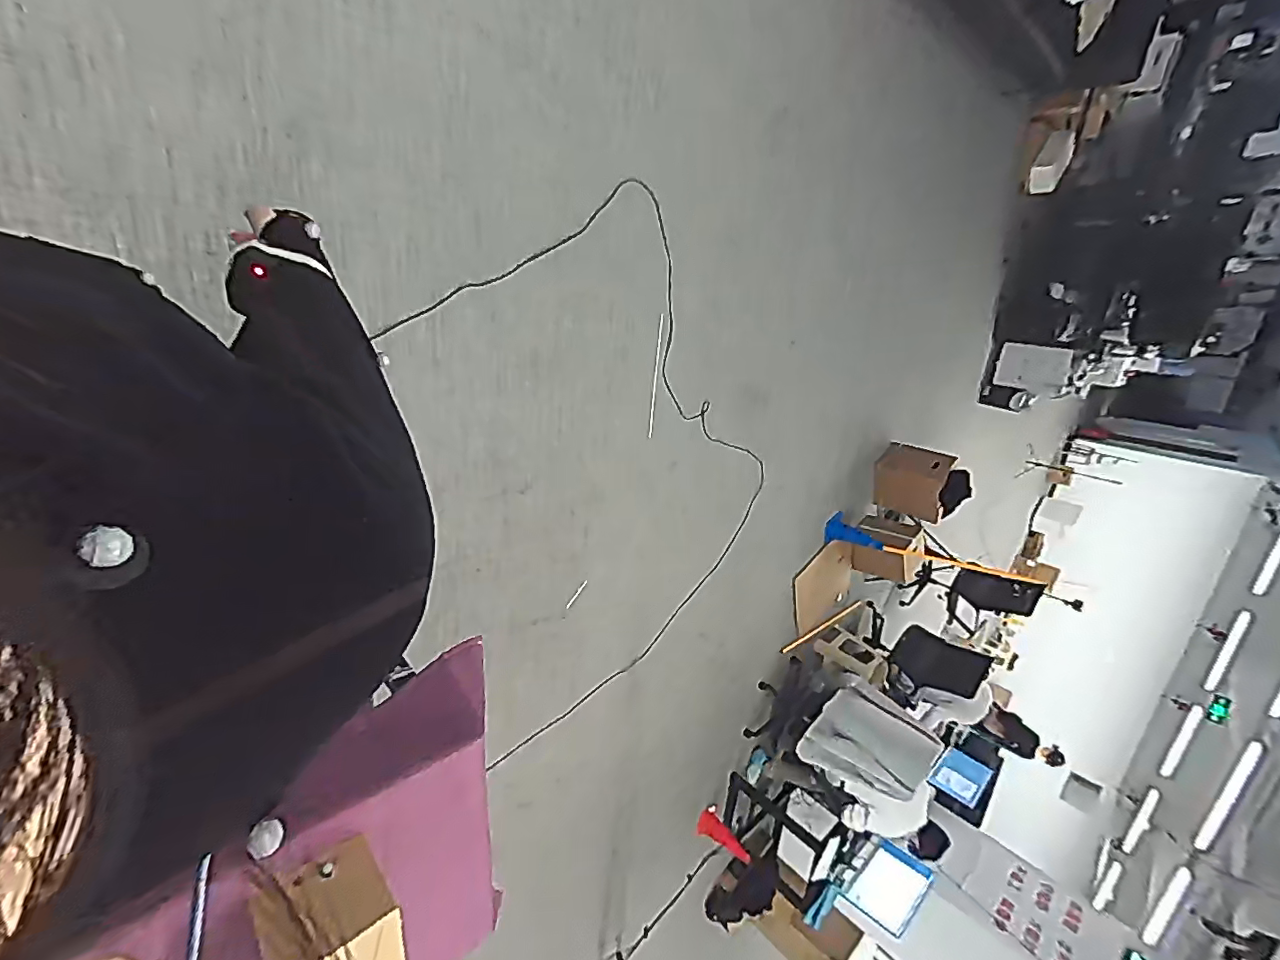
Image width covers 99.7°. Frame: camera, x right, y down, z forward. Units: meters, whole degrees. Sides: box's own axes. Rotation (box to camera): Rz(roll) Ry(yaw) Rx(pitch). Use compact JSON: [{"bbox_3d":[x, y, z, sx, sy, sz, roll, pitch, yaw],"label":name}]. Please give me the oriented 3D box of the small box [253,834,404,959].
[{"bbox_3d":[-0.491,0.721,0.858,0.168,0.176,0.179,-14,116,-42],"label":"small box"}]
